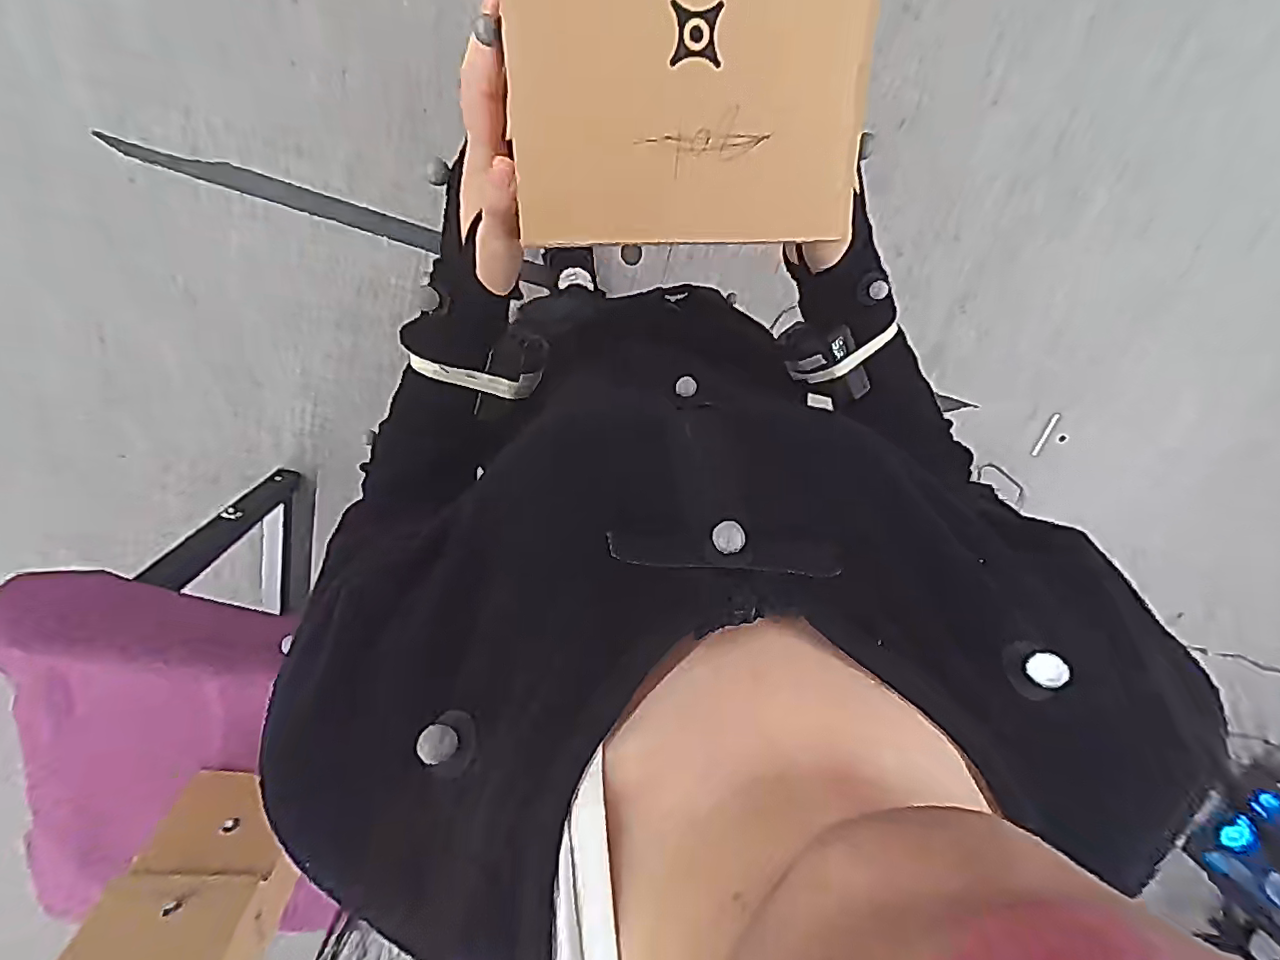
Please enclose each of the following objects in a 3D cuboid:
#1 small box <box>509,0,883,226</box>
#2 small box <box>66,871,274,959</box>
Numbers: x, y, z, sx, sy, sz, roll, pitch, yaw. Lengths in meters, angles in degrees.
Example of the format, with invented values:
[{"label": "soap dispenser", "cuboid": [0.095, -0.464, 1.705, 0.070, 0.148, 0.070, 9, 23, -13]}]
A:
[{"label": "small box", "cuboid": [0.014, -0.239, 0.299, 0.168, 0.176, 0.179, -4, 117, -7]}, {"label": "small box", "cuboid": [-0.599, 0.628, 0.679, 0.179, 0.176, 0.168, 8, 112, -10]}]
